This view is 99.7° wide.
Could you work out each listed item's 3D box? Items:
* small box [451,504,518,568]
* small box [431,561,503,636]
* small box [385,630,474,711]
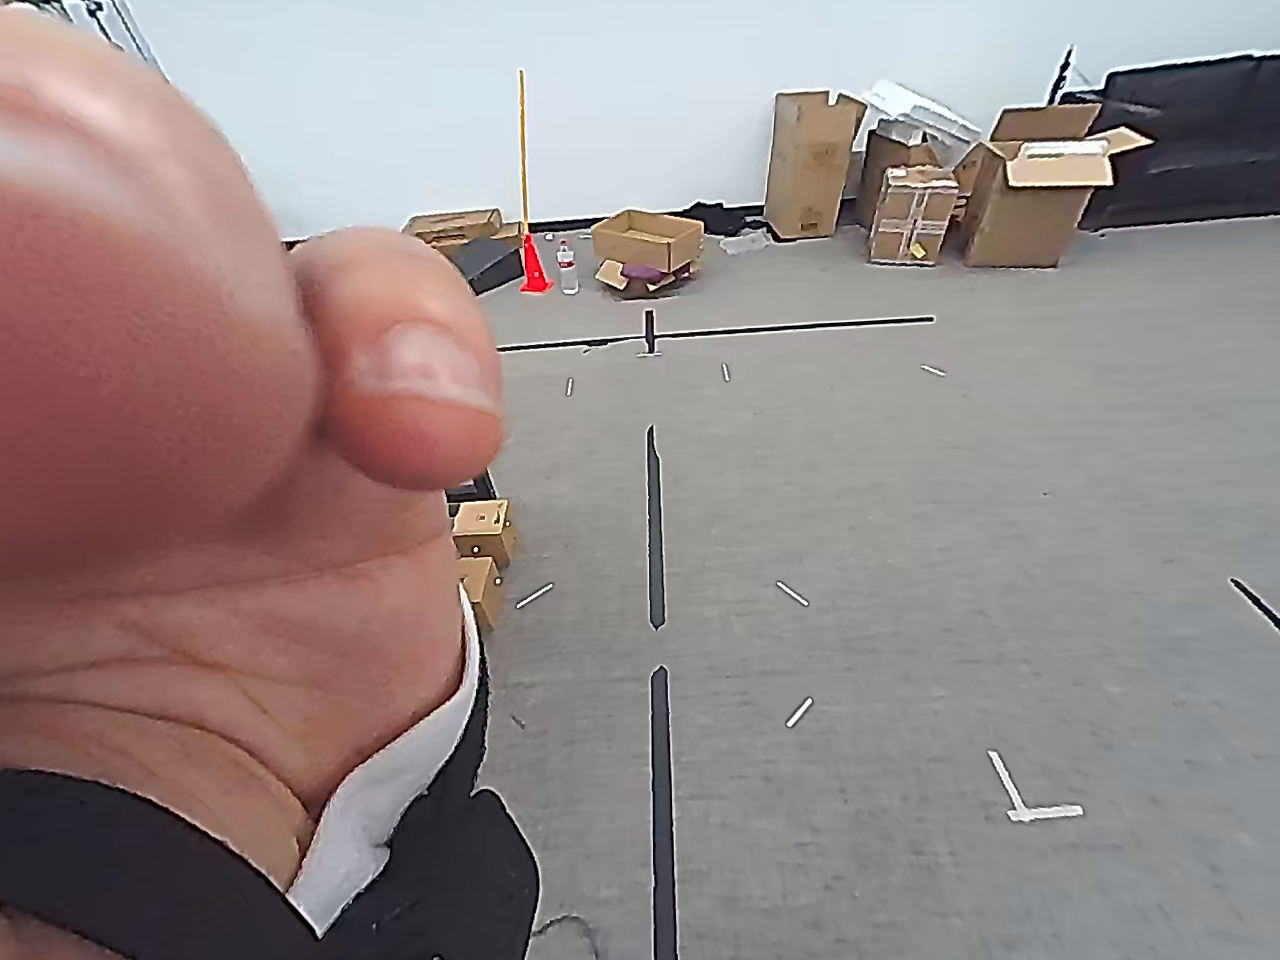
[{"bbox_3d":[-0.555,0.207,1.954,0.179,0.176,0.168,-4,43,2],"label":"small box"},{"bbox_3d":[-0.555,0.386,1.762,0.168,0.176,0.179,-5,43,2],"label":"small box"},{"bbox_3d":[-0.605,0.559,1.577,0.179,0.176,0.168,-3,43,1],"label":"small box"}]
